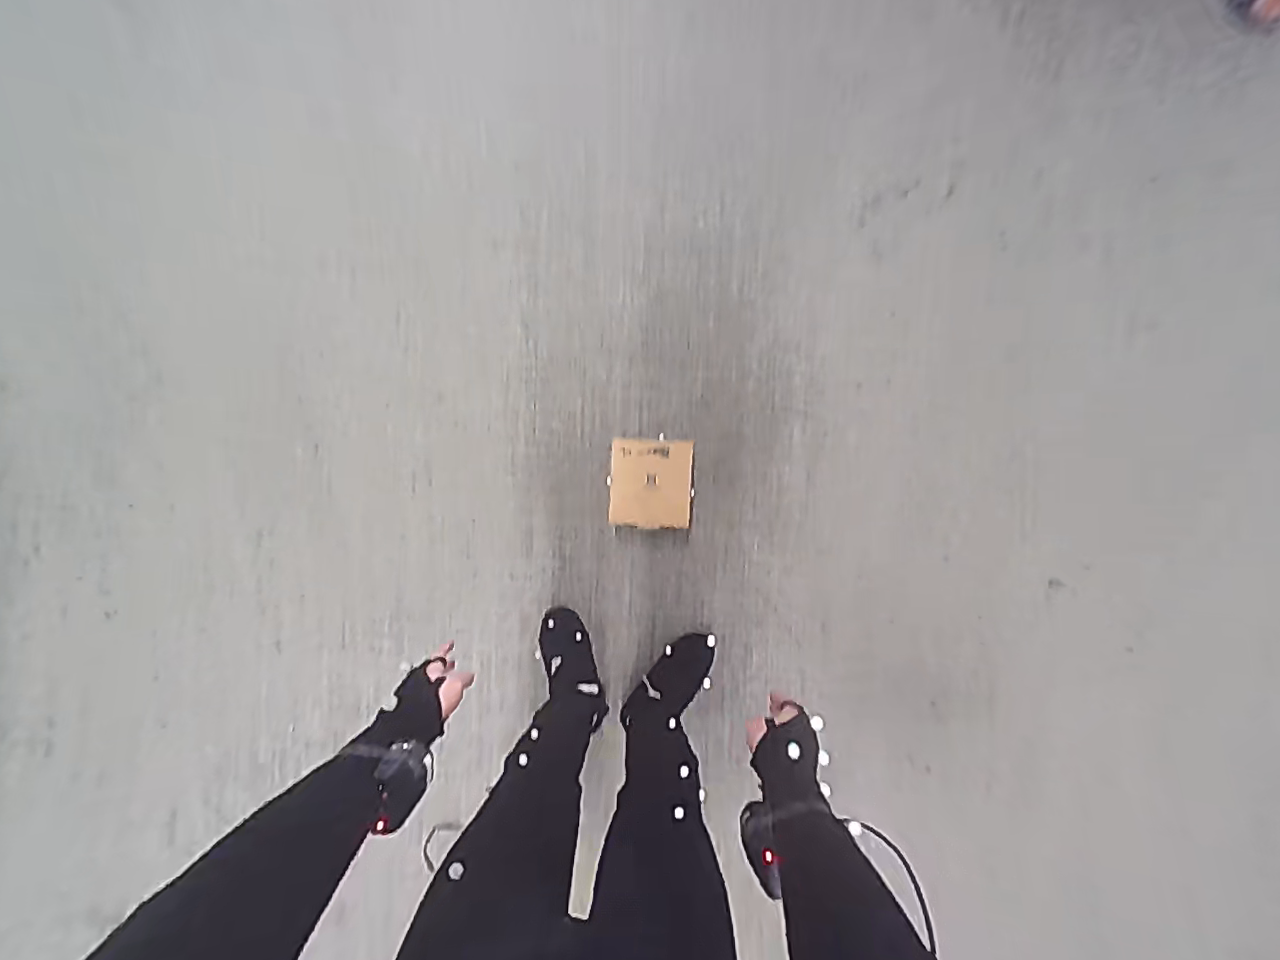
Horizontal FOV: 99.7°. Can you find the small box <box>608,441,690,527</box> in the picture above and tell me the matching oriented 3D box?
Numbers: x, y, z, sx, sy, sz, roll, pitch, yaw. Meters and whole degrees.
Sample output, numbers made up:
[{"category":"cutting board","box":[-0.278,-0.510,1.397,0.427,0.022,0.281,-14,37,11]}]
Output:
[{"category":"small box","box":[0.020,0.008,1.194,0.168,0.176,0.179,1,90,0]}]
